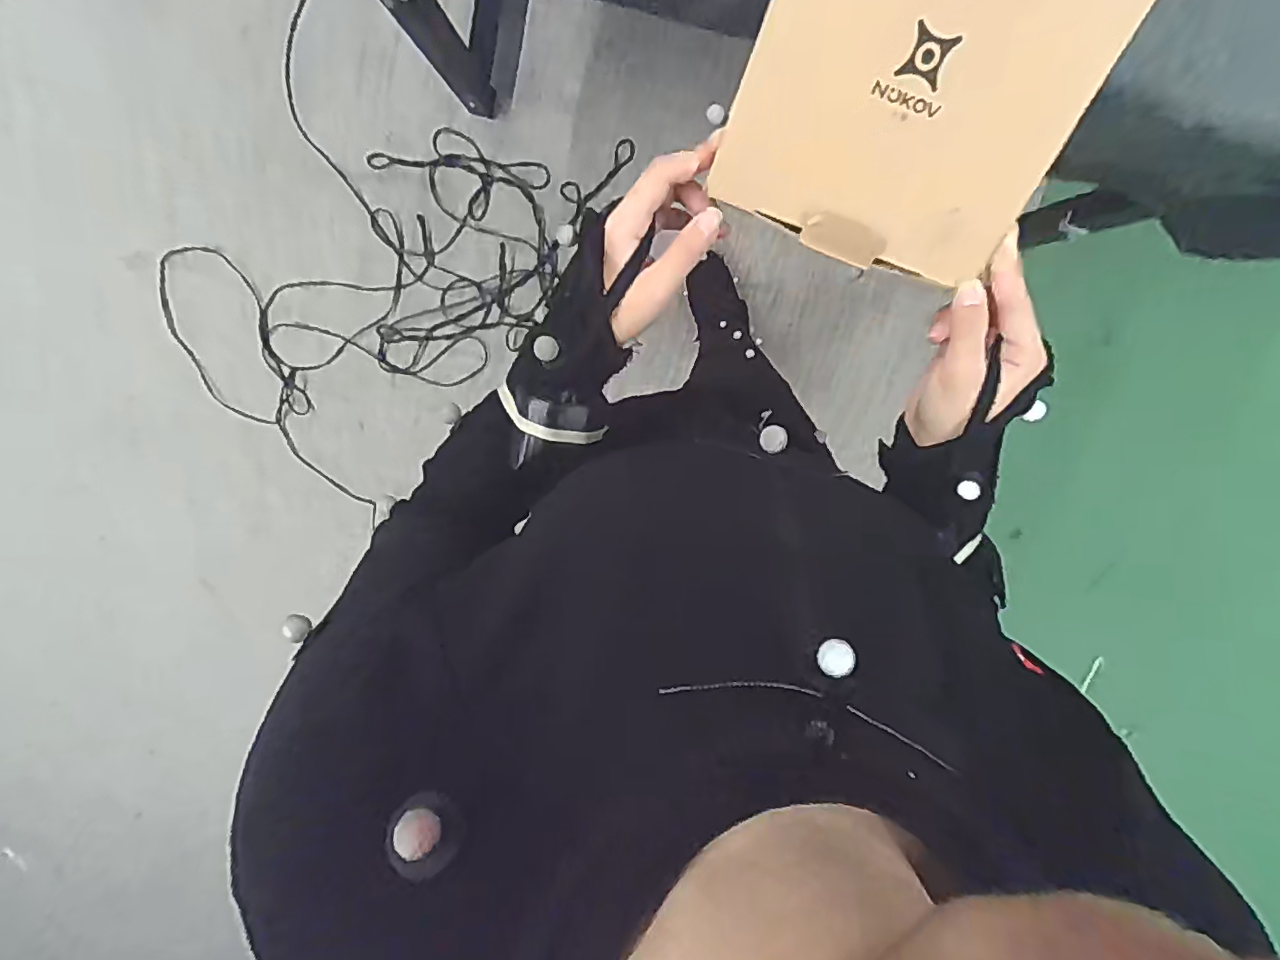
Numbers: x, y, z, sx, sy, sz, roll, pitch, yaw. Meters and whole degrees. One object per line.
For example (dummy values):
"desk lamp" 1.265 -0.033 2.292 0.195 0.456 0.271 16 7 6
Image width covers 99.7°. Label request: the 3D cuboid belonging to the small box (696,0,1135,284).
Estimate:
"small box" 0.145 -0.247 0.336 0.168 0.176 0.179 19 119 -3
